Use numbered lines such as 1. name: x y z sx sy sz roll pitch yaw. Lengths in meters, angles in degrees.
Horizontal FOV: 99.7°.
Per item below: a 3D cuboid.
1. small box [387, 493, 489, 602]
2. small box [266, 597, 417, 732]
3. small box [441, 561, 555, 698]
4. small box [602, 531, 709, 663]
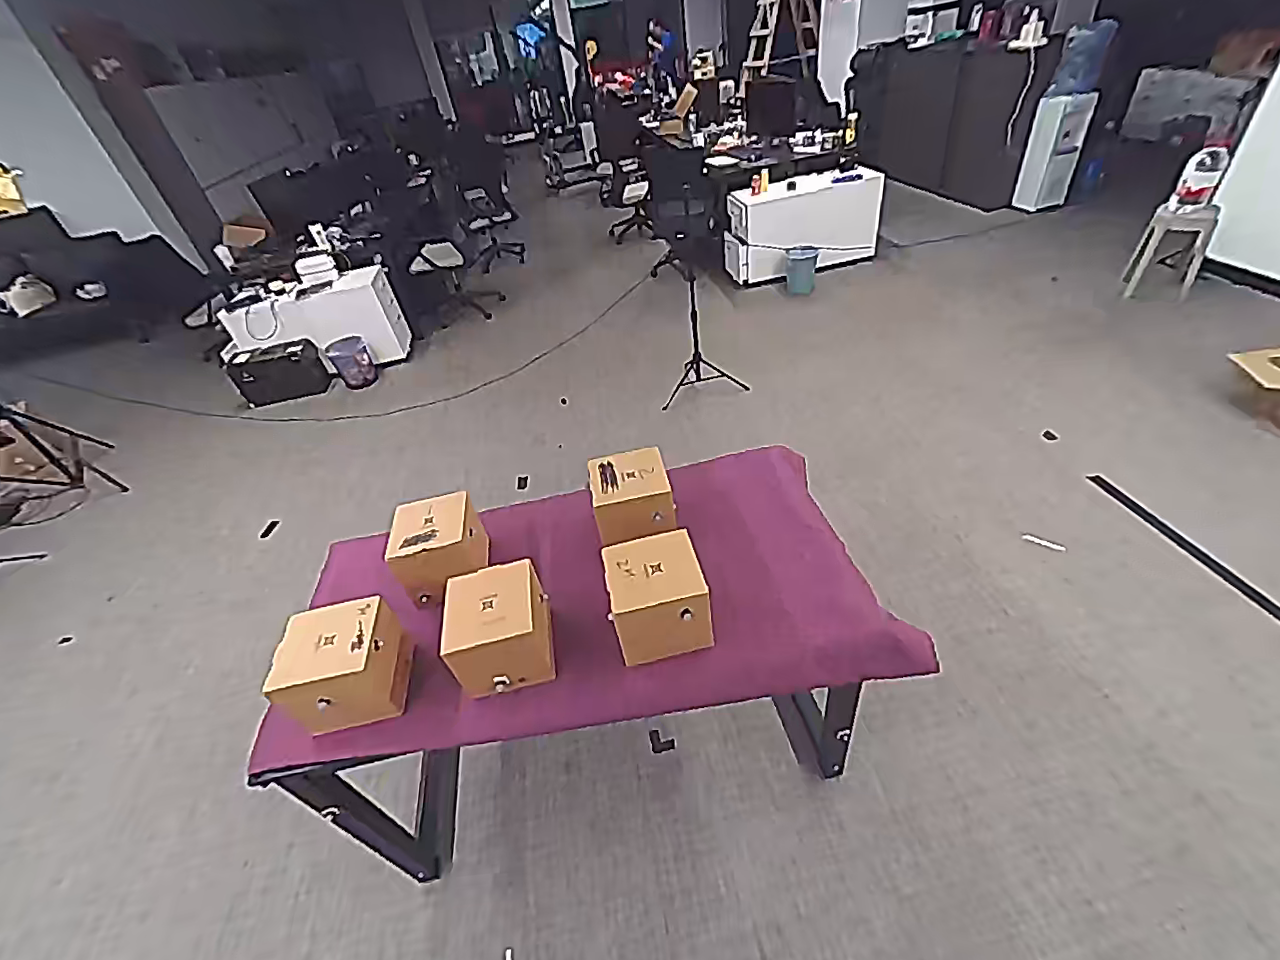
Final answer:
1. small box: -0.456 0.161 1.249 0.168 0.176 0.179 -13 40 -3
2. small box: -0.557 0.357 1.038 0.179 0.176 0.168 -13 40 -2
3. small box: -0.269 0.292 1.055 0.168 0.176 0.179 -14 42 -3
4. small box: 0.033 0.229 1.054 0.179 0.176 0.168 -14 39 -2
